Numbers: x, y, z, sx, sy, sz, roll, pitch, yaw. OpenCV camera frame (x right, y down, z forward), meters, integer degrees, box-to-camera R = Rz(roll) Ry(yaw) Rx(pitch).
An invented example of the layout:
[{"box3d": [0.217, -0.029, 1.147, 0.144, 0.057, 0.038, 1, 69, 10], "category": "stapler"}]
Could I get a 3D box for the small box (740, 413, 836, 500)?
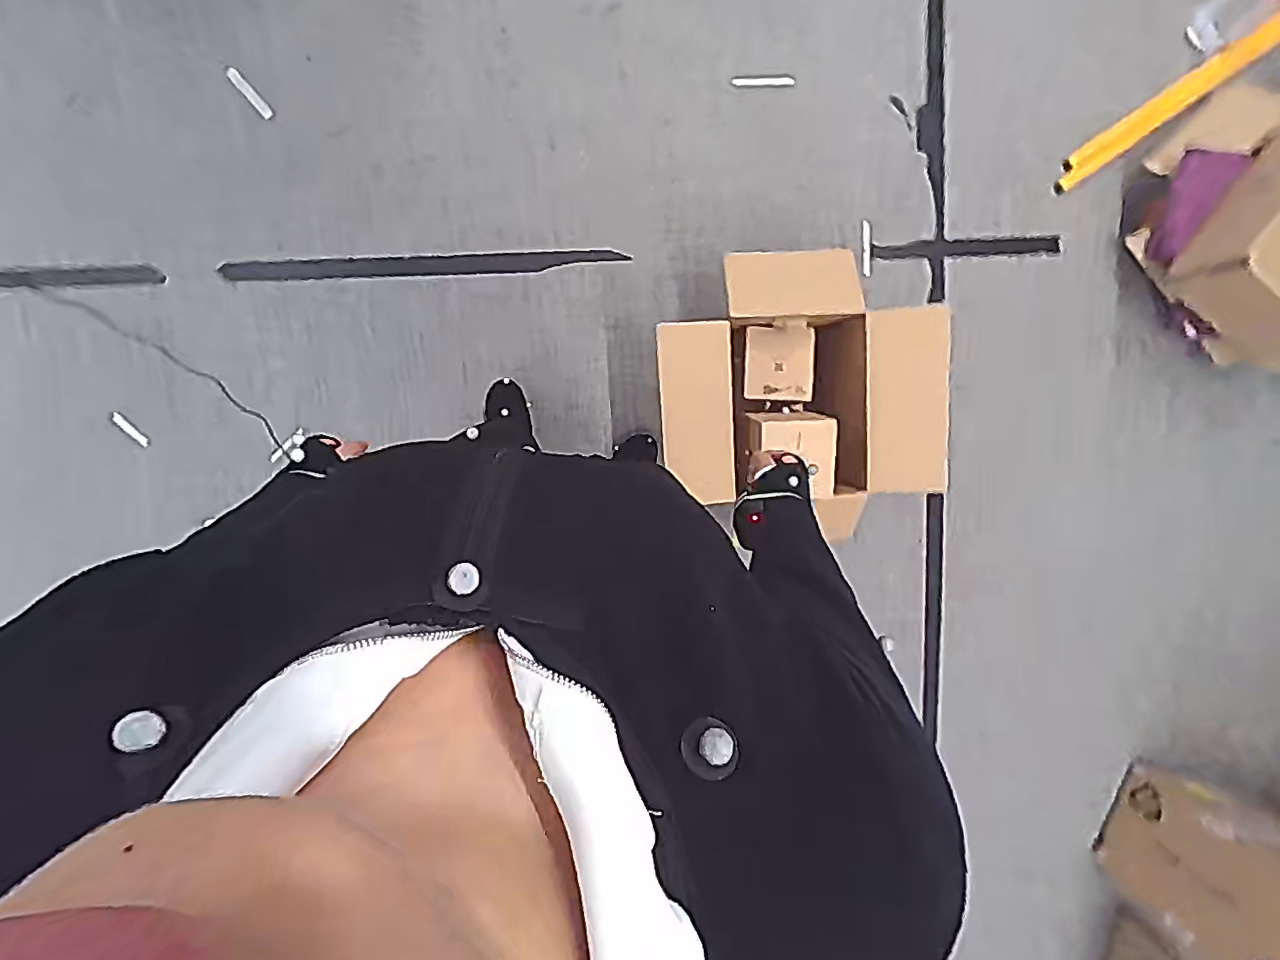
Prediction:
[{"box3d": [0.331, -0.059, 1.242, 0.168, 0.176, 0.179, -1, 102, -3], "category": "small box"}]
